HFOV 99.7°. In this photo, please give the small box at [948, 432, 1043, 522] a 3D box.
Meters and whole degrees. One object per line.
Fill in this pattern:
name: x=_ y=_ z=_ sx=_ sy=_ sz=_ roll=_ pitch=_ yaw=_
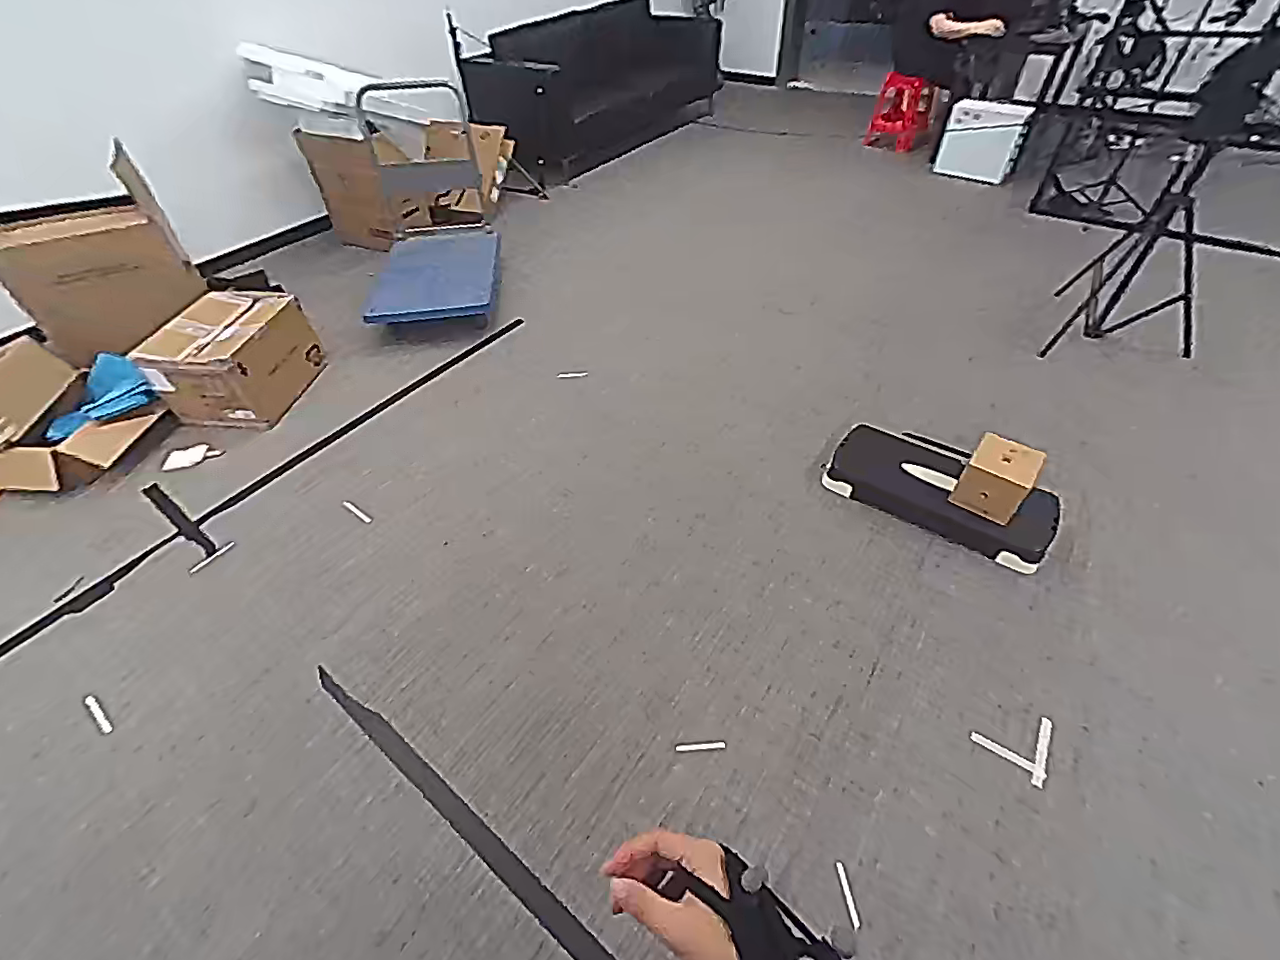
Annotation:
small box: x=1.055 y=-0.007 z=1.618 sx=0.168 sy=0.176 sz=0.179 roll=30 pitch=55 yaw=27
